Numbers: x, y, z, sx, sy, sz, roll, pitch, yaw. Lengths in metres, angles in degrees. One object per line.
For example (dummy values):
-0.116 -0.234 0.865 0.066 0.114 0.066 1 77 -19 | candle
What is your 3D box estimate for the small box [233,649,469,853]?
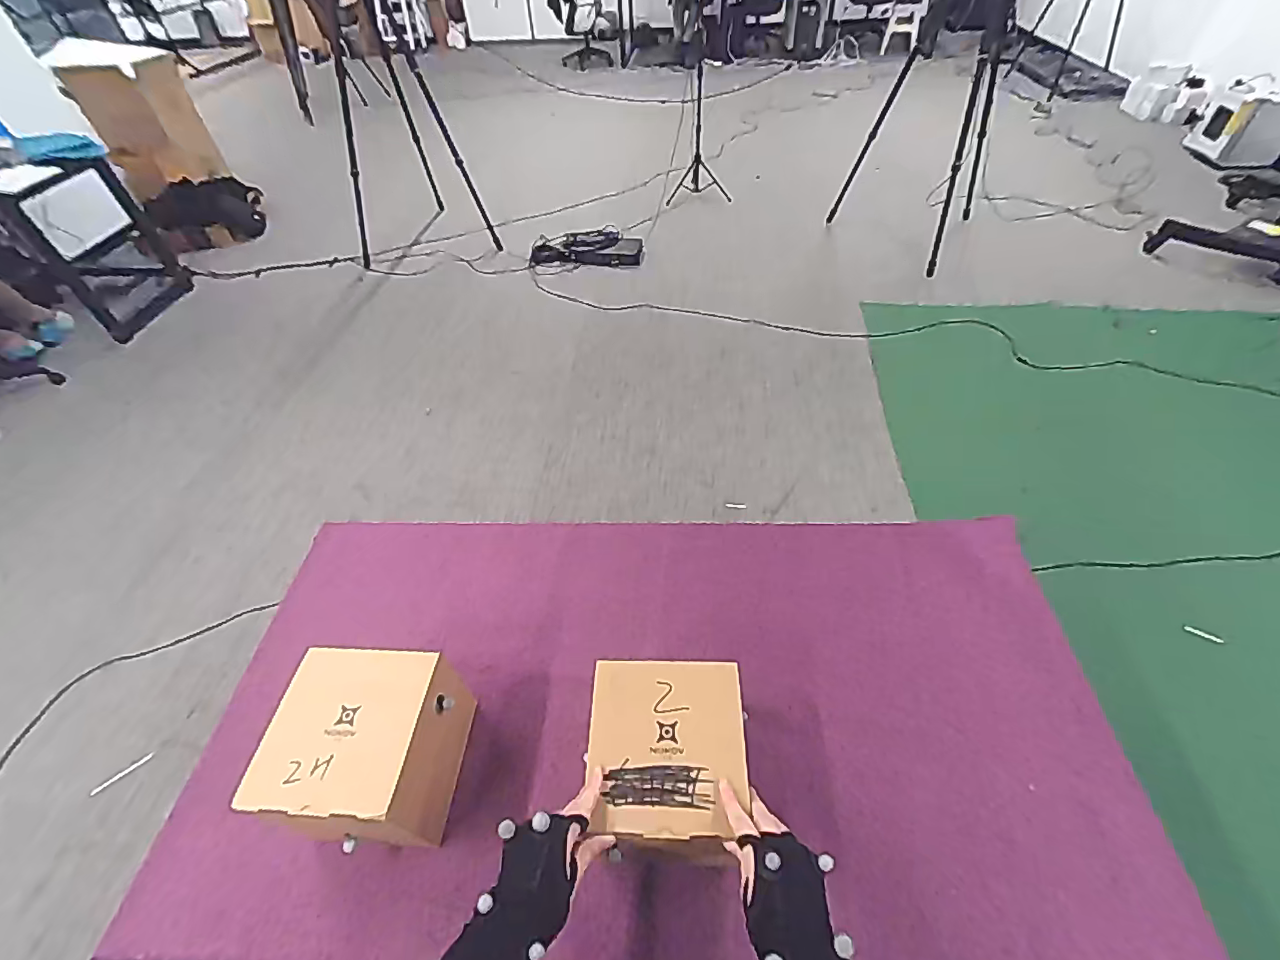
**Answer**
-0.320 0.325 0.651 0.168 0.176 0.179 1 47 4 | small box
